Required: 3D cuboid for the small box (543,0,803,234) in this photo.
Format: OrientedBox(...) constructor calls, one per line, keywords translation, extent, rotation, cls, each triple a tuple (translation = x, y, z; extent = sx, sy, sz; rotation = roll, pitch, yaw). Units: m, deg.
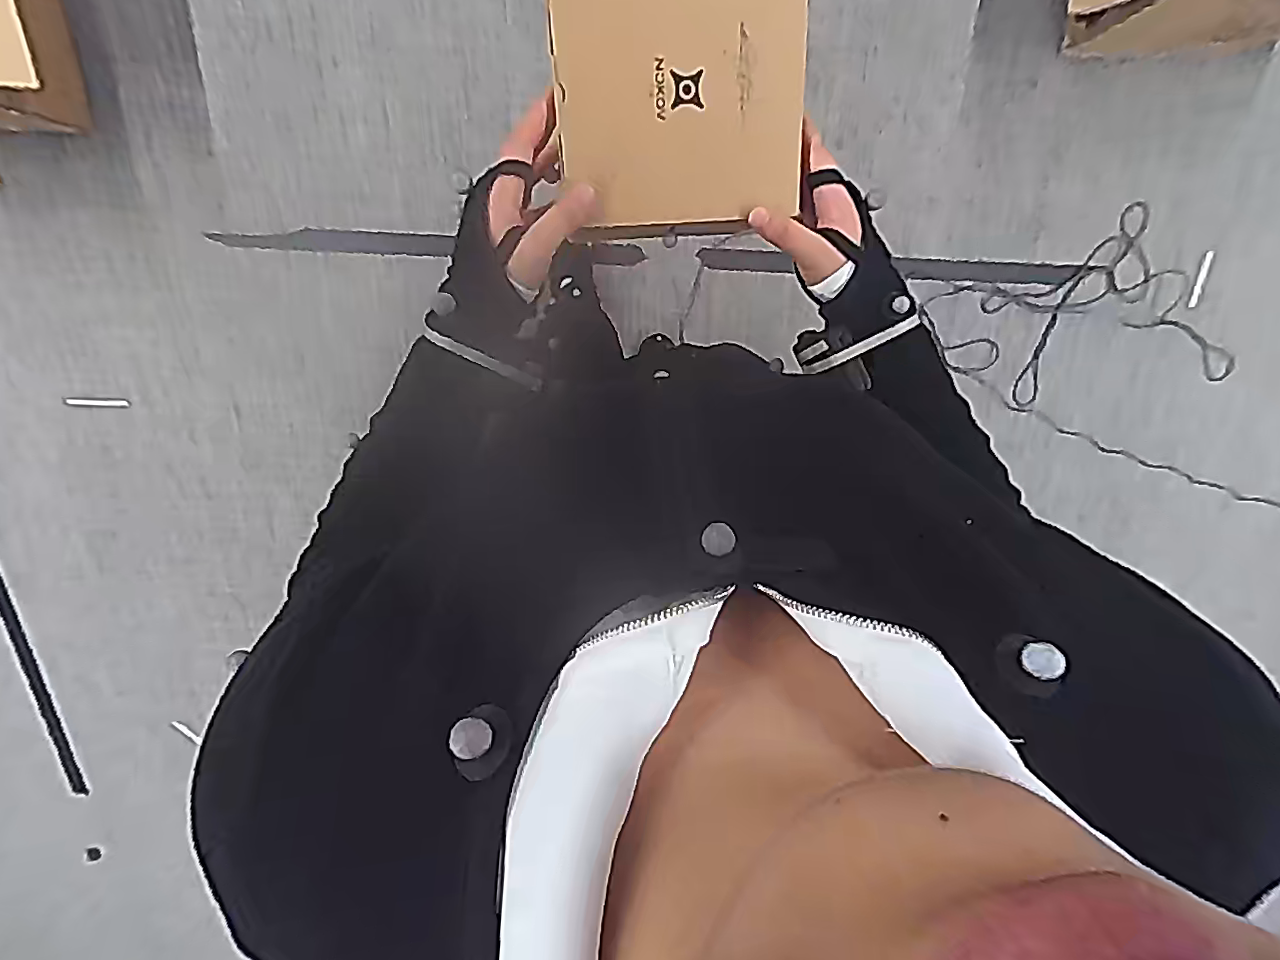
OrientedBox(translation=(0.019, -0.304, 0.450), extent=(0.179, 0.176, 0.168), rotation=(-7, 112, -5), cls="small box")
